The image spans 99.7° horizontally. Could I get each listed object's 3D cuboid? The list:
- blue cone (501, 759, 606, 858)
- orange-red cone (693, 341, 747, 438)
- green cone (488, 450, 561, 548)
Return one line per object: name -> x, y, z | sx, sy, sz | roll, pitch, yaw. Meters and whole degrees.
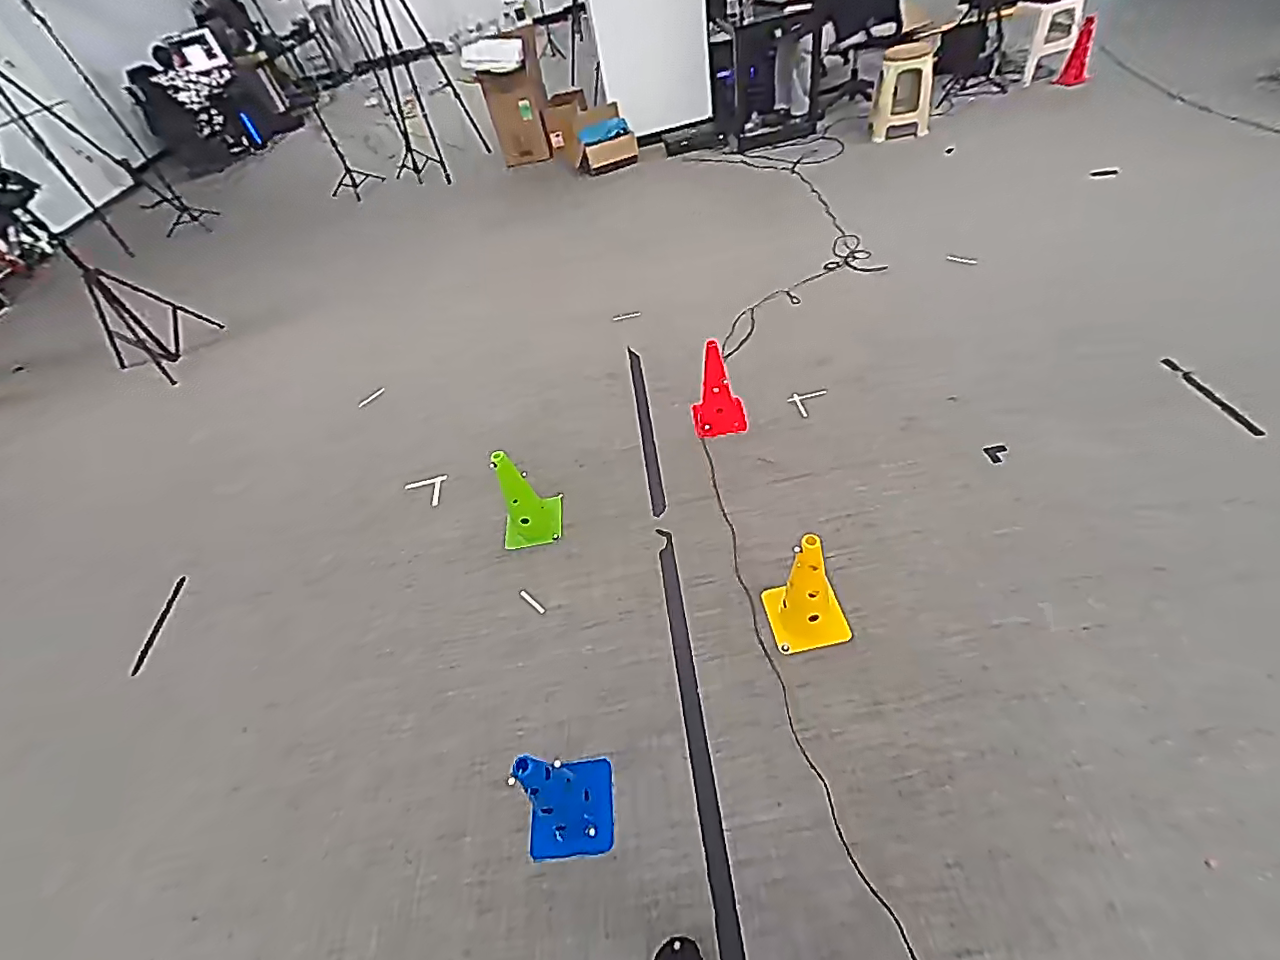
blue cone -> -0.207, 0.680, 1.181 | 0.192, 0.380, 0.193 | -9, 47, 7
orange-red cone -> 0.280, -0.355, 1.988 | 0.199, 0.360, 0.198 | -7, 49, 6
green cone -> -0.412, 0.033, 1.801 | 0.202, 0.368, 0.200 | -12, 47, 4
